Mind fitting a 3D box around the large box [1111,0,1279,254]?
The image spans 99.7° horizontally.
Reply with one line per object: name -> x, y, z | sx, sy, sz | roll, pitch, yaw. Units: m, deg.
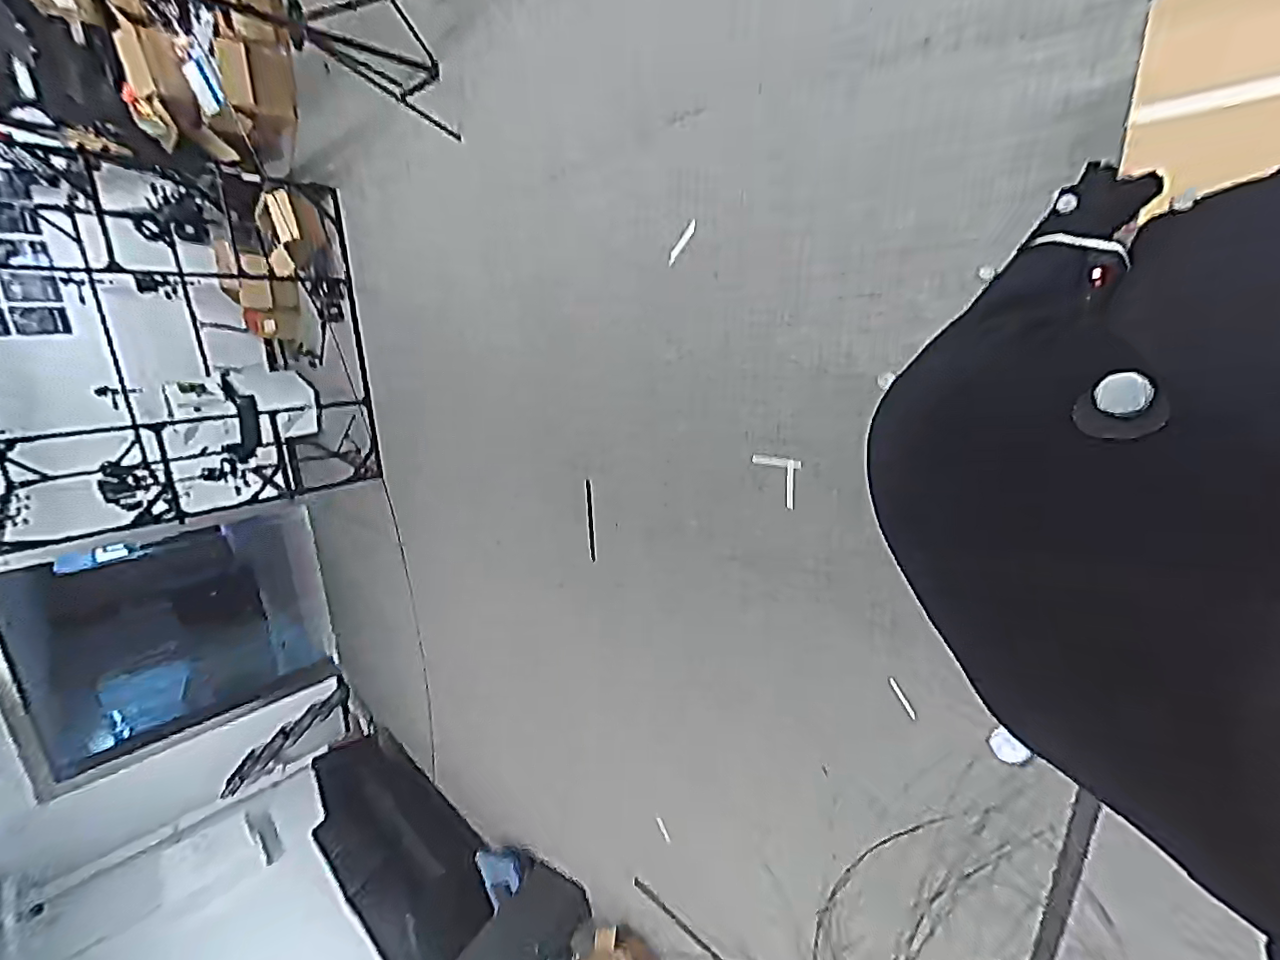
large box -> 0.999, -0.540, 0.806 | 0.408, 0.320, 0.320 | 13, 111, 43
